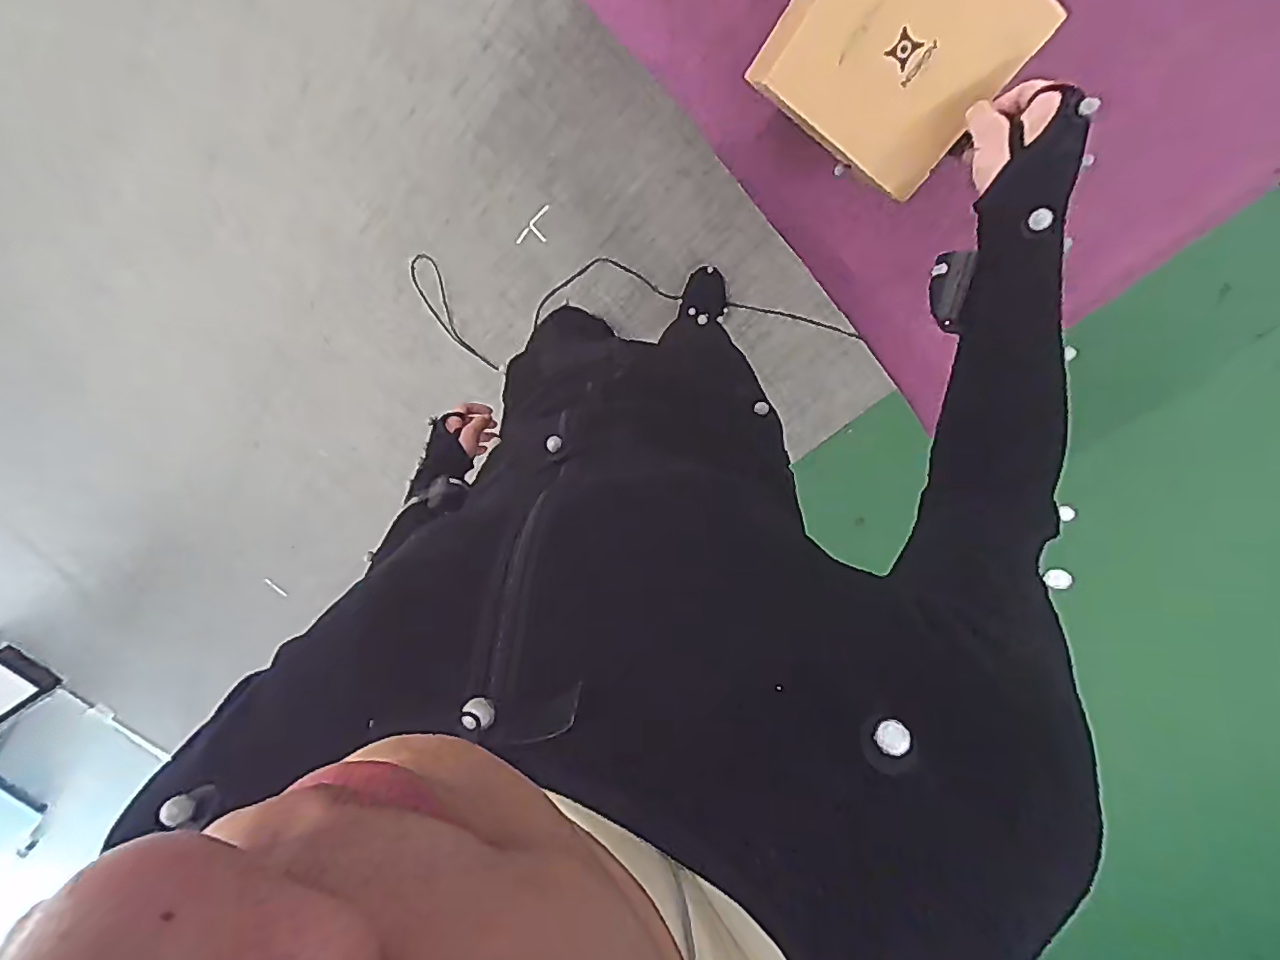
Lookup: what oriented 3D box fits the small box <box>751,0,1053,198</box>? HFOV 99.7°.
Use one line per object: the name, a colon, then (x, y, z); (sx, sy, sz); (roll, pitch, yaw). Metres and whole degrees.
small box: (0.230, -0.415, 0.521); (0.179, 0.176, 0.168); (29, 124, -18)
